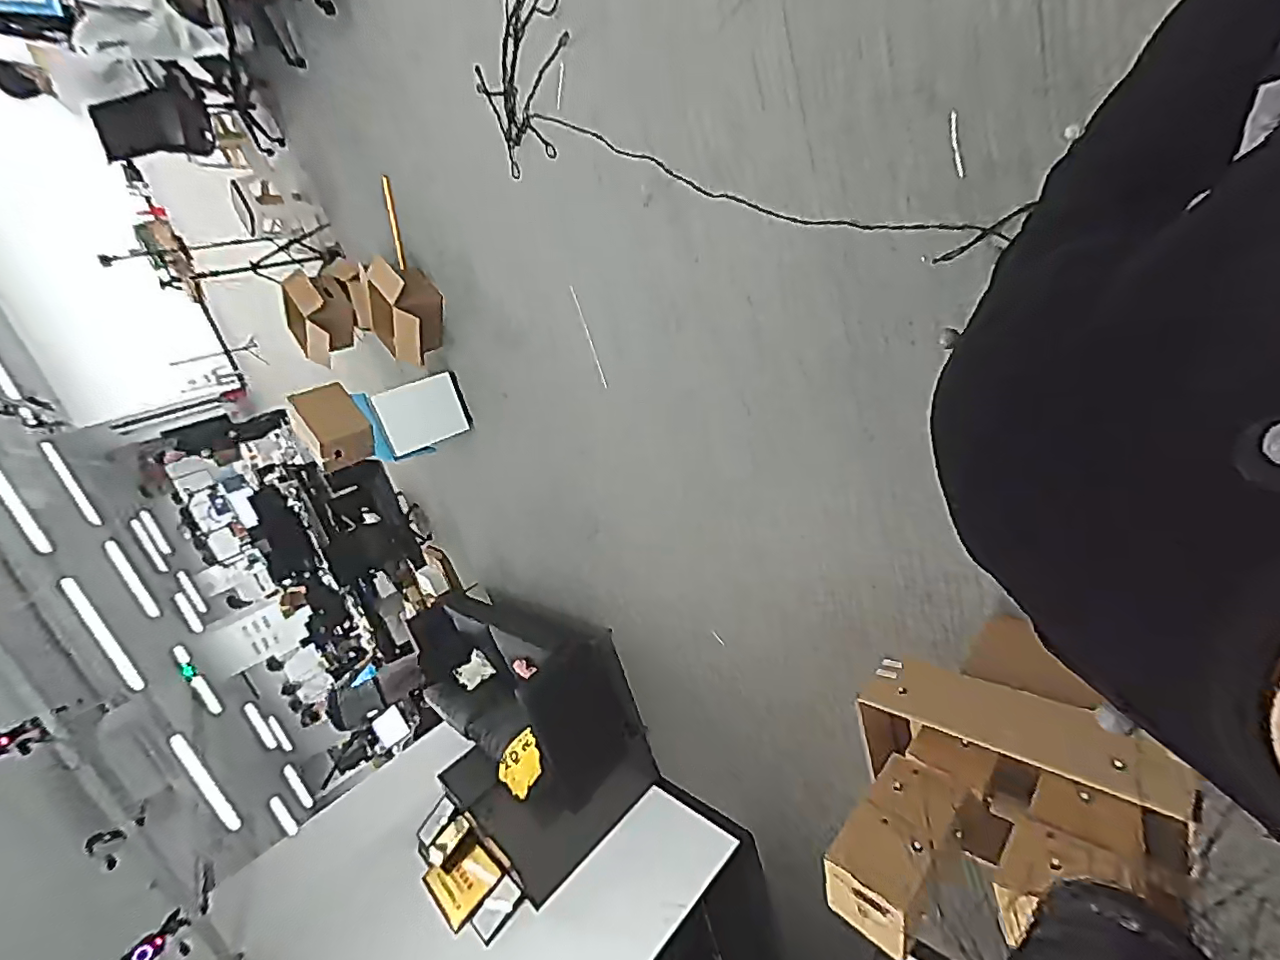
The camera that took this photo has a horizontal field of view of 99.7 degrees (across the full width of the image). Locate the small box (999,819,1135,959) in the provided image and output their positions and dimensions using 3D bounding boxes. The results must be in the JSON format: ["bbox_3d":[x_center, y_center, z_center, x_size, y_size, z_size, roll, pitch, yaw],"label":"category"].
[{"bbox_3d":[0.814,0.800,1.029,0.168,0.176,0.179,-1,112,52],"label":"small box"}]

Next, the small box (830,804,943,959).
[{"bbox_3d":[0.519,0.836,1.138,0.168,0.176,0.179,15,125,46],"label":"small box"}]

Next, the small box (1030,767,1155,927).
[{"bbox_3d":[0.940,0.747,1.121,0.168,0.176,0.179,-2,112,51],"label":"small box"}]

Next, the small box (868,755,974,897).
[{"bbox_3d":[0.640,0.774,1.230,0.168,0.176,0.179,11,122,48],"label":"small box"}]
